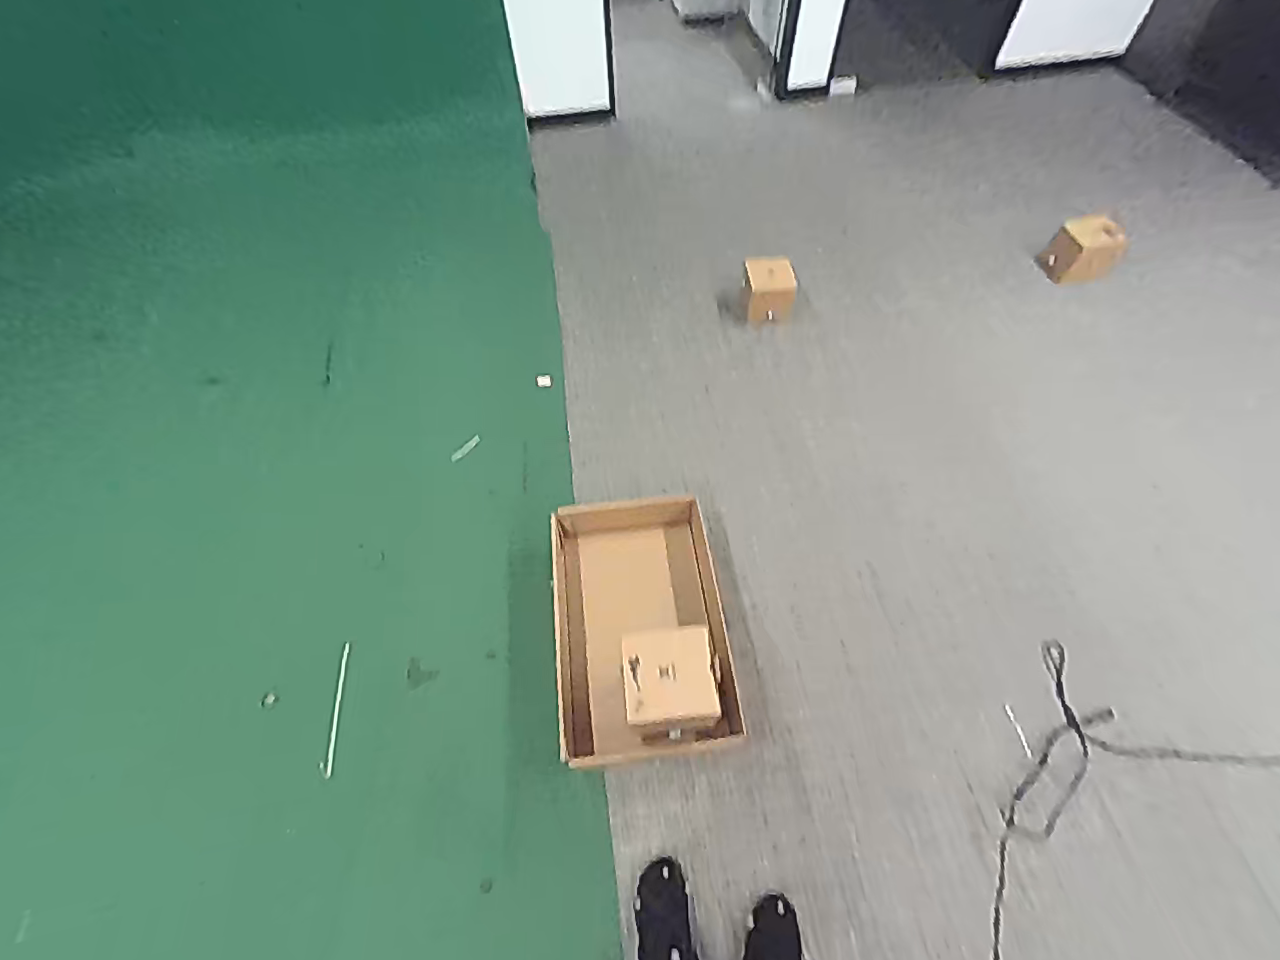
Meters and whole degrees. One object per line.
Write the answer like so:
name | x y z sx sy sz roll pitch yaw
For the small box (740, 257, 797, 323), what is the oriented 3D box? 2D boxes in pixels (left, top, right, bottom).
small box | 0.479 -0.718 2.047 0.168 0.176 0.179 -4 58 0

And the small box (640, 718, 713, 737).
small box | 0.072 0.479 1.238 0.179 0.176 0.168 -9 58 -6

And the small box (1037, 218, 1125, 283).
small box | 1.733 -0.906 2.137 0.179 0.176 0.168 -8 58 -2

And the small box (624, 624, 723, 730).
small box | 0.059 0.401 1.094 0.179 0.176 0.168 -5 58 -3
